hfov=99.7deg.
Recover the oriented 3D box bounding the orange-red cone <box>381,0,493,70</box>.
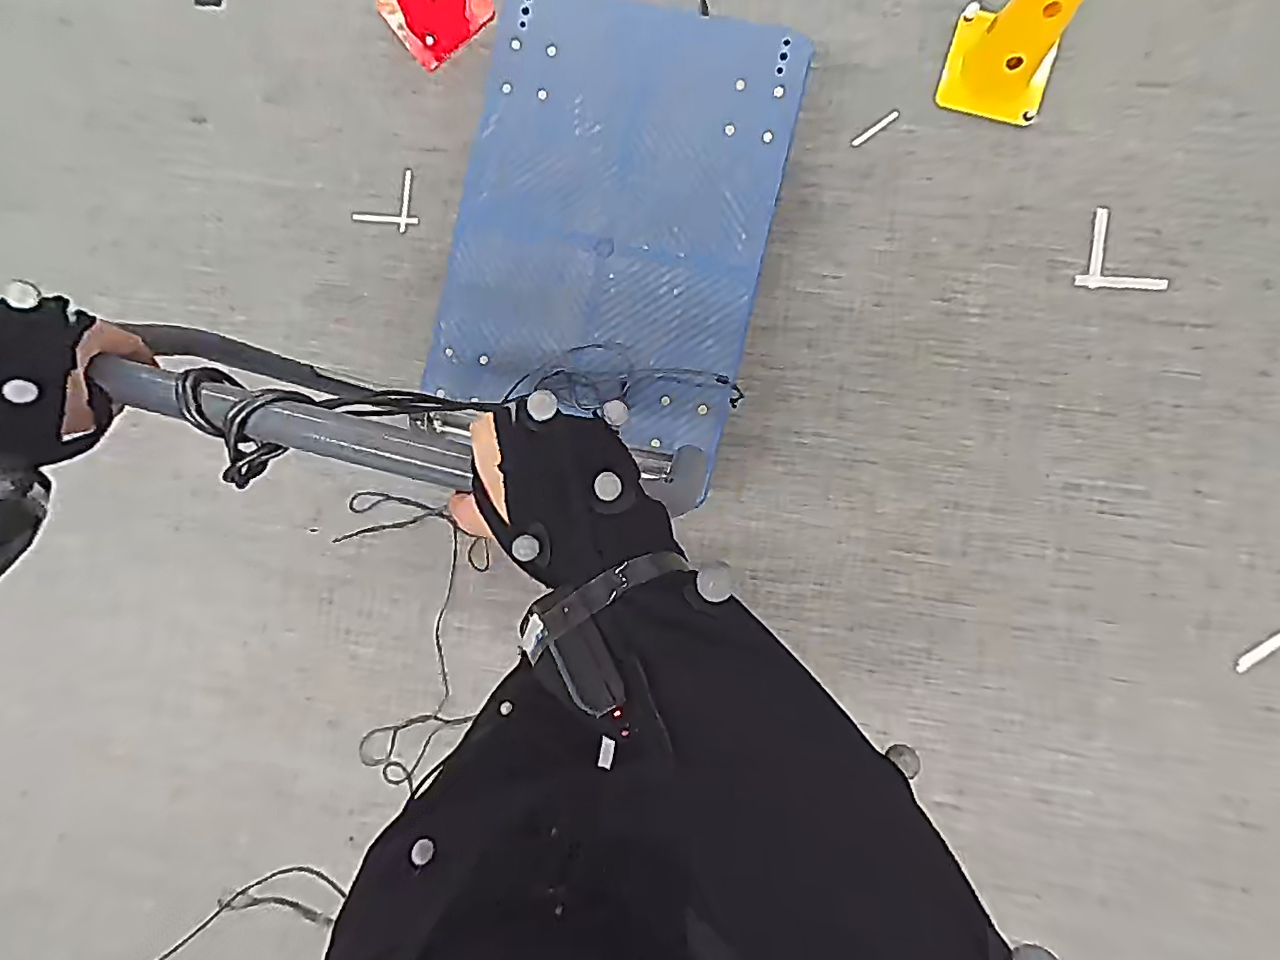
[{"bbox_3d":[-0.454,-1.021,1.012,0.199,0.360,0.198,-37,89,3],"label":"orange-red cone"}]
